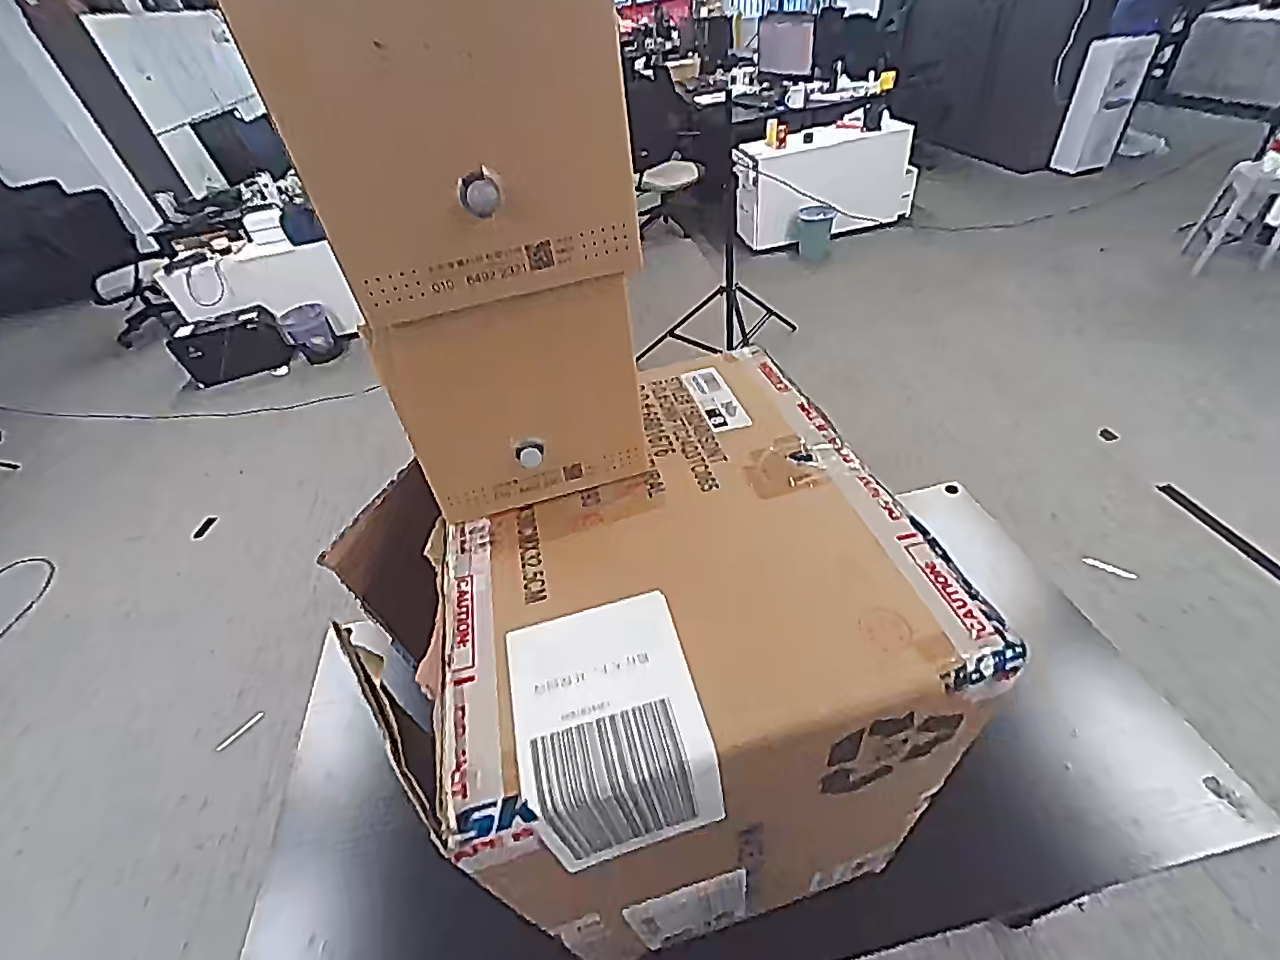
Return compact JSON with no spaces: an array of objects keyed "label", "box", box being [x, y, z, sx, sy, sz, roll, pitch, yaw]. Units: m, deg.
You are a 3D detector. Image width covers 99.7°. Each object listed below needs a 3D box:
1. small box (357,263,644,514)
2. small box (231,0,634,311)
[{"label":"small box","box":[-0.102,-0.101,0.440,0.168,0.176,0.179,-15,41,-8]},{"label":"small box","box":[-0.111,-0.223,0.328,0.168,0.176,0.179,-17,41,-9]}]
